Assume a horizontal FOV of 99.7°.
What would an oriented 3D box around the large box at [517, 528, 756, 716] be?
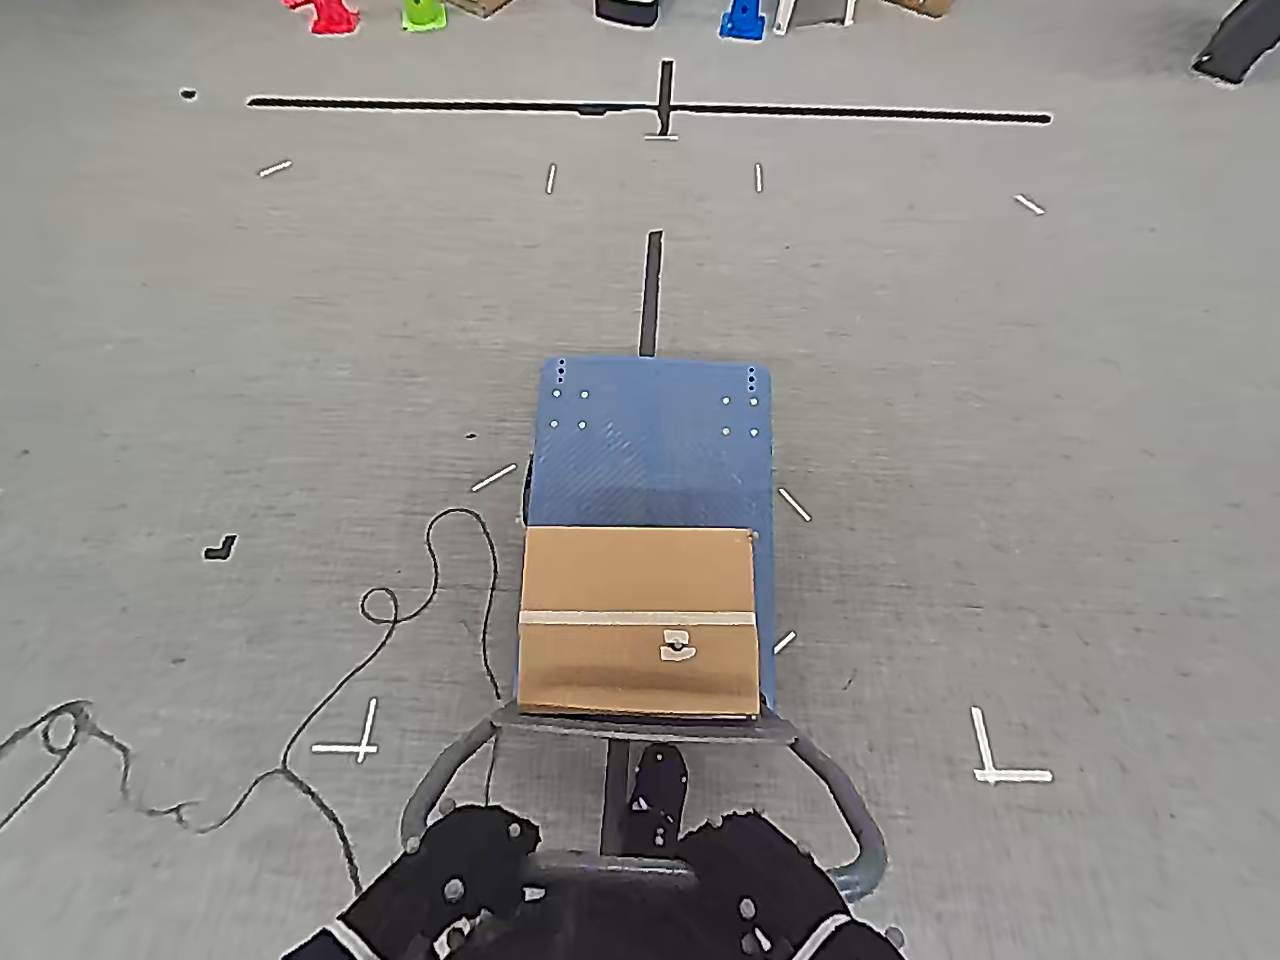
[{"bbox_3d":[-0.009,0.275,1.069,0.408,0.320,0.320,1,76,0],"label":"large box"}]
